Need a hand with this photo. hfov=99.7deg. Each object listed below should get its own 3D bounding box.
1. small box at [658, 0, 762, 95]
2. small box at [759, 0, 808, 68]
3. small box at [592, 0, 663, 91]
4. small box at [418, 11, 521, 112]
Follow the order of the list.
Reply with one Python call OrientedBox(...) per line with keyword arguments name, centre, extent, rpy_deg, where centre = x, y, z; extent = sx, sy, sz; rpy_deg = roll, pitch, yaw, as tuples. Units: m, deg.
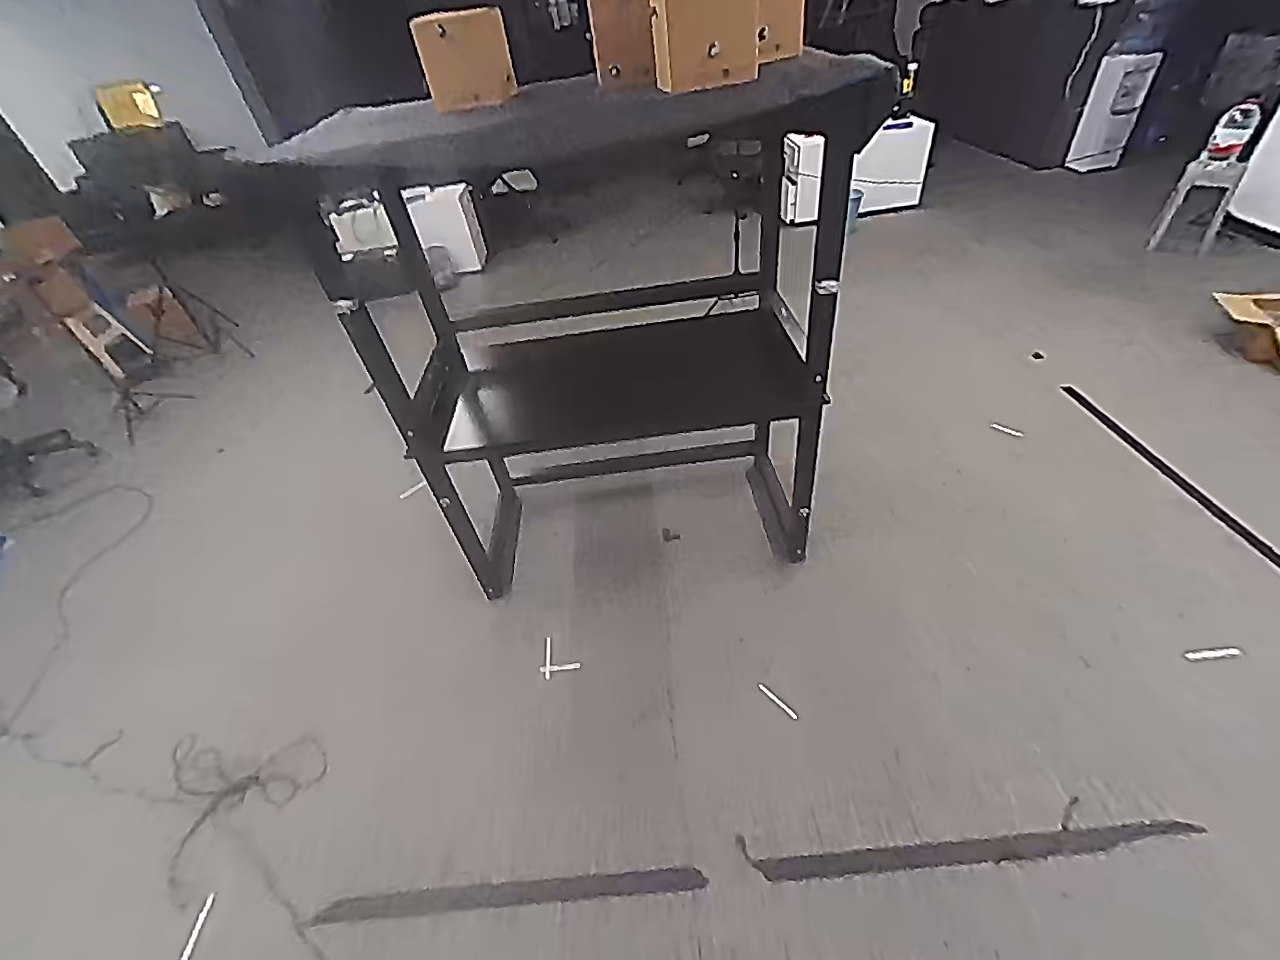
OrientedBox(name="small box", centre=(0.128, -0.851, 1.033), extent=(0.168, 0.176, 0.179), rpy_deg=(-10, 40, -1))
OrientedBox(name="small box", centre=(0.269, -1.060, 1.241), extent=(0.168, 0.176, 0.179), rpy_deg=(-15, 44, -6))
OrientedBox(name="small box", centre=(-0.013, -1.007, 1.235), extent=(0.168, 0.176, 0.179), rpy_deg=(-9, 41, 0))
OrientedBox(name="small box", centre=(-0.388, -0.980, 1.270), extent=(0.168, 0.176, 0.179), rpy_deg=(-4, 42, 5))
